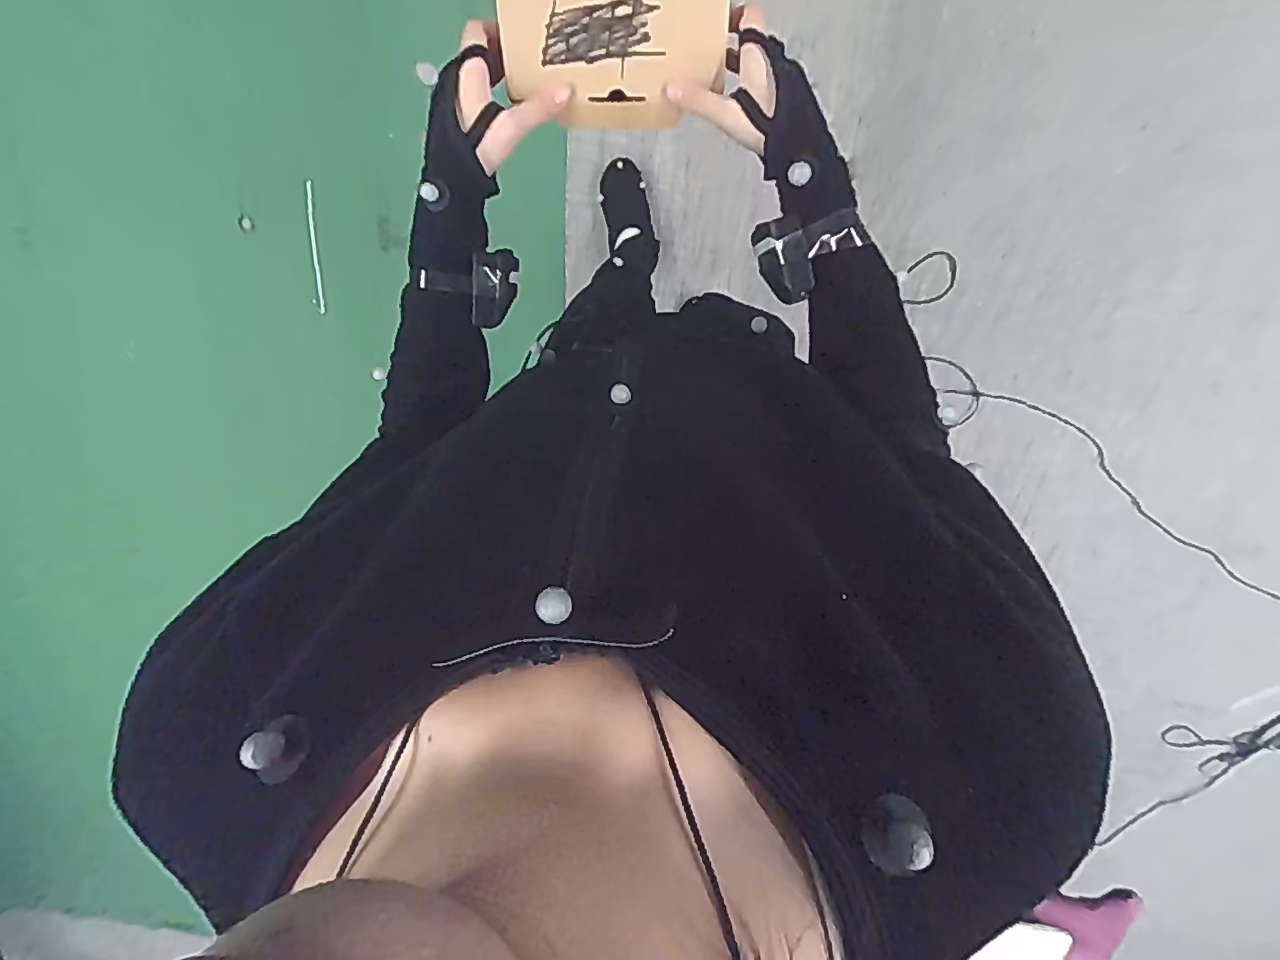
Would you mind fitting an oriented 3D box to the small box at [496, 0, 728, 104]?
[{"bbox_3d":[-0.022,-0.406,0.424,0.168,0.176,0.179,-2,126,-3],"label":"small box"}]
